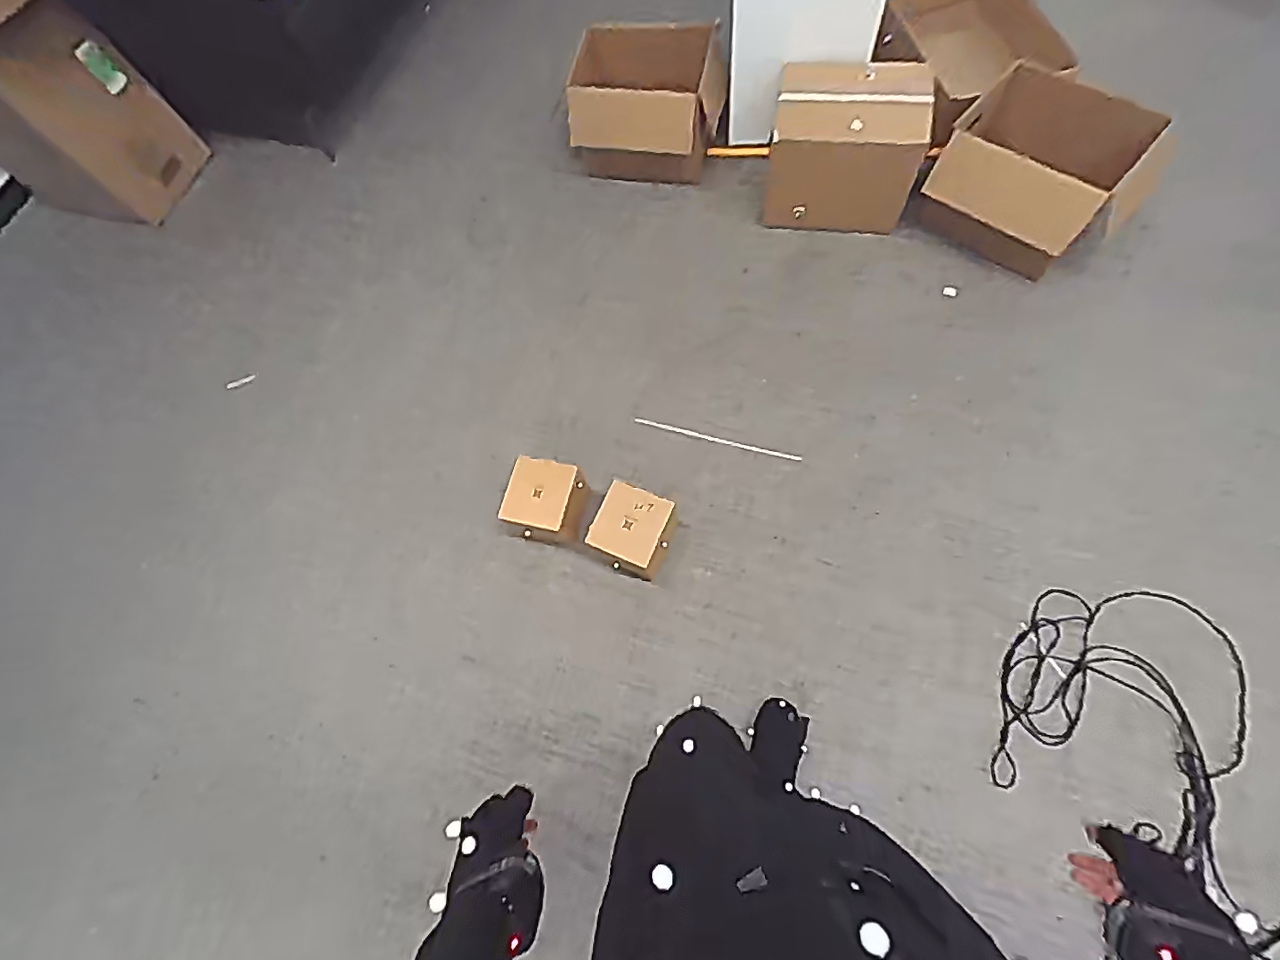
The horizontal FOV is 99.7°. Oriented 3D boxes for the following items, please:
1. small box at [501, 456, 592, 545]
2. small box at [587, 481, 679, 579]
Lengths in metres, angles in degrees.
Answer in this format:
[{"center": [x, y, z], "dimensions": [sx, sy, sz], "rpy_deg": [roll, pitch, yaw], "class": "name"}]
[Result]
[{"center": [-0.235, 0.060, 1.418], "dimensions": [0.168, 0.176, 0.179], "rpy_deg": [11, 71, 12], "class": "small box"}, {"center": [-0.008, 0.132, 1.357], "dimensions": [0.168, 0.176, 0.179], "rpy_deg": [22, 74, 15], "class": "small box"}]
